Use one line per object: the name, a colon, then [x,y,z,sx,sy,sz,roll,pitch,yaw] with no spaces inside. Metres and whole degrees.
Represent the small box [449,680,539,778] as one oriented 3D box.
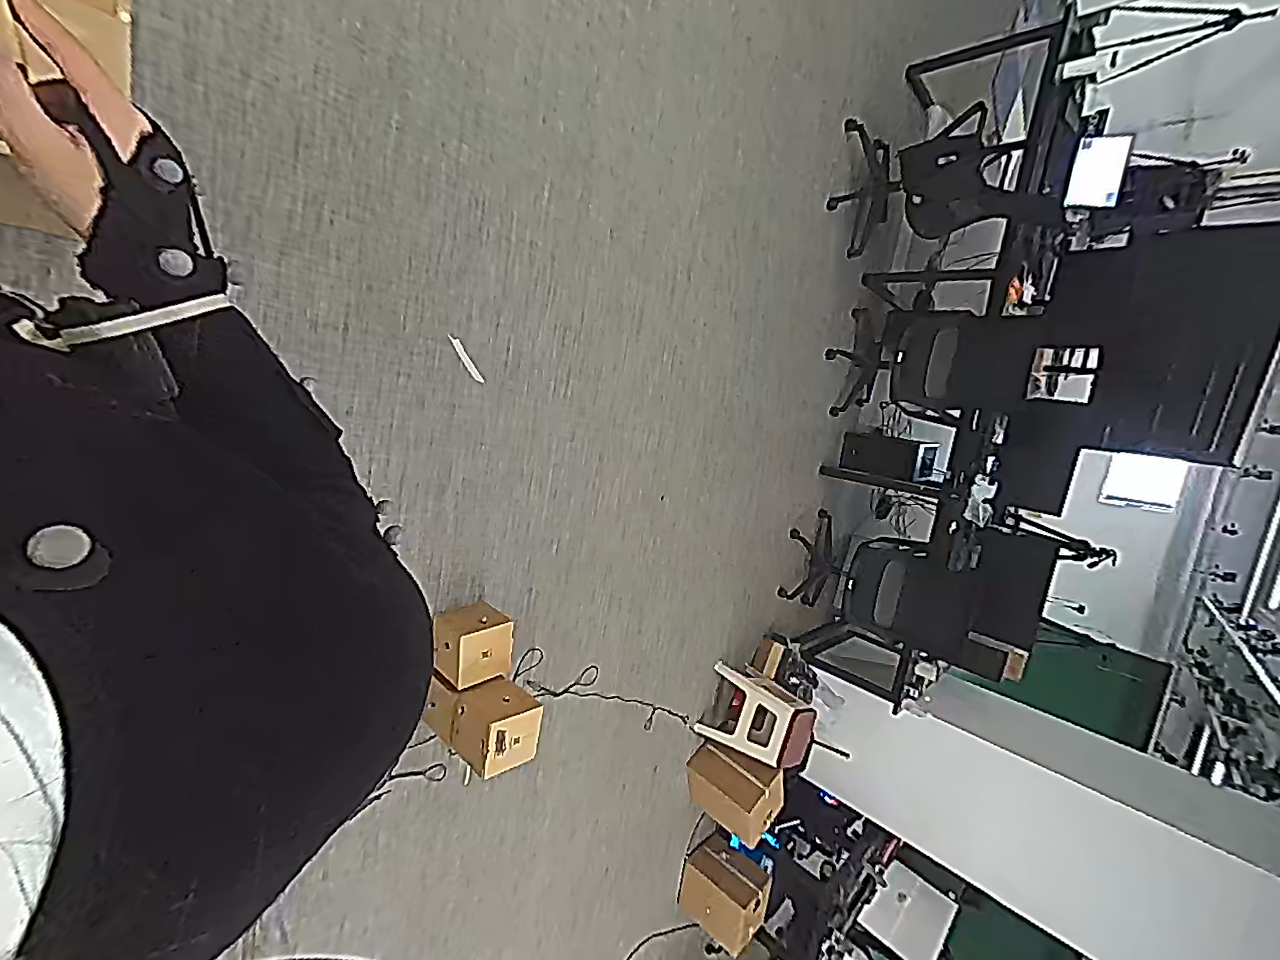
small box: [-0.414,0.693,1.524,0.179,0.176,0.168,3,100,-50]
